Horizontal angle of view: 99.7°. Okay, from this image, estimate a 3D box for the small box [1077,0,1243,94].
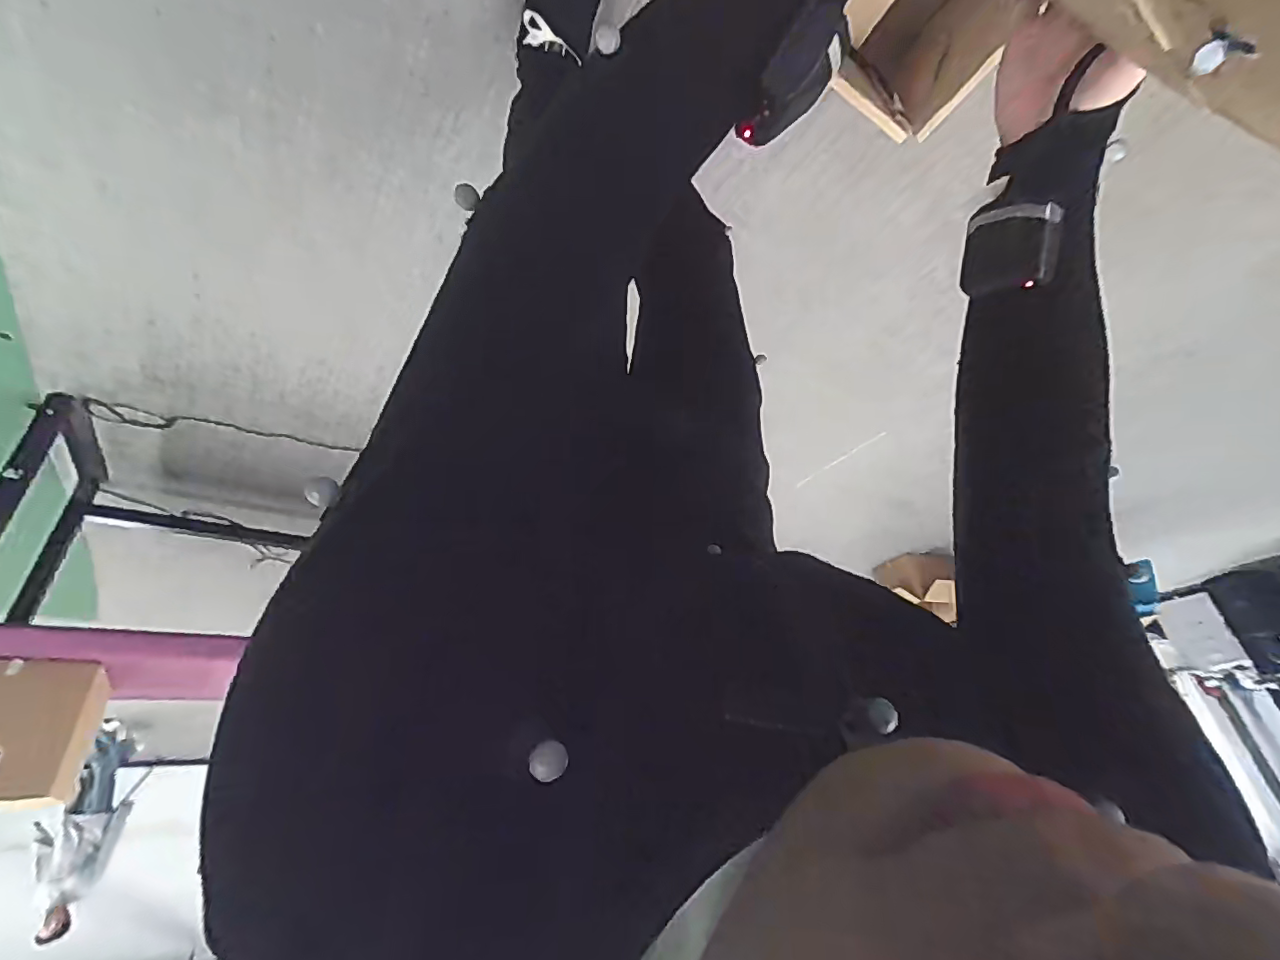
[{"bbox_3d":[0.298,-0.343,0.249,0.168,0.176,0.179,15,141,-30],"label":"small box"}]

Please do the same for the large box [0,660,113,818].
[{"bbox_3d":[-1.615,0.665,1.370,0.320,0.320,0.408,15,143,-33],"label":"large box"}]
